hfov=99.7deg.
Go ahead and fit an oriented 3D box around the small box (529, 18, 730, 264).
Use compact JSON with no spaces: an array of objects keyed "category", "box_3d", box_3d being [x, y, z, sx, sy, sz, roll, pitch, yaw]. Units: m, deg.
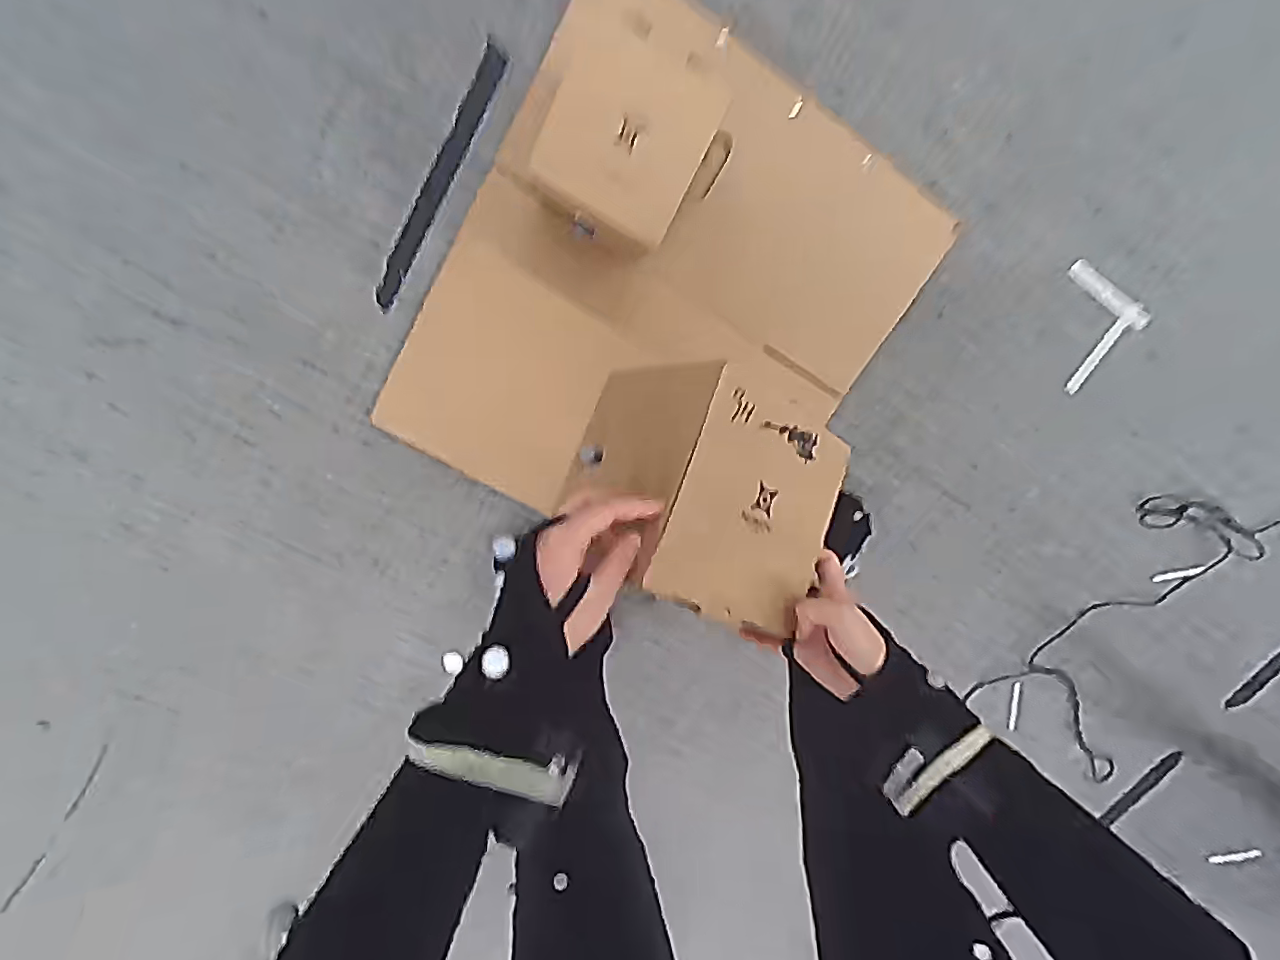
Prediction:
[{"category":"small box","box_3d":[-0.019,-0.386,0.657,0.168,0.176,0.179,25,105,-11]}]
